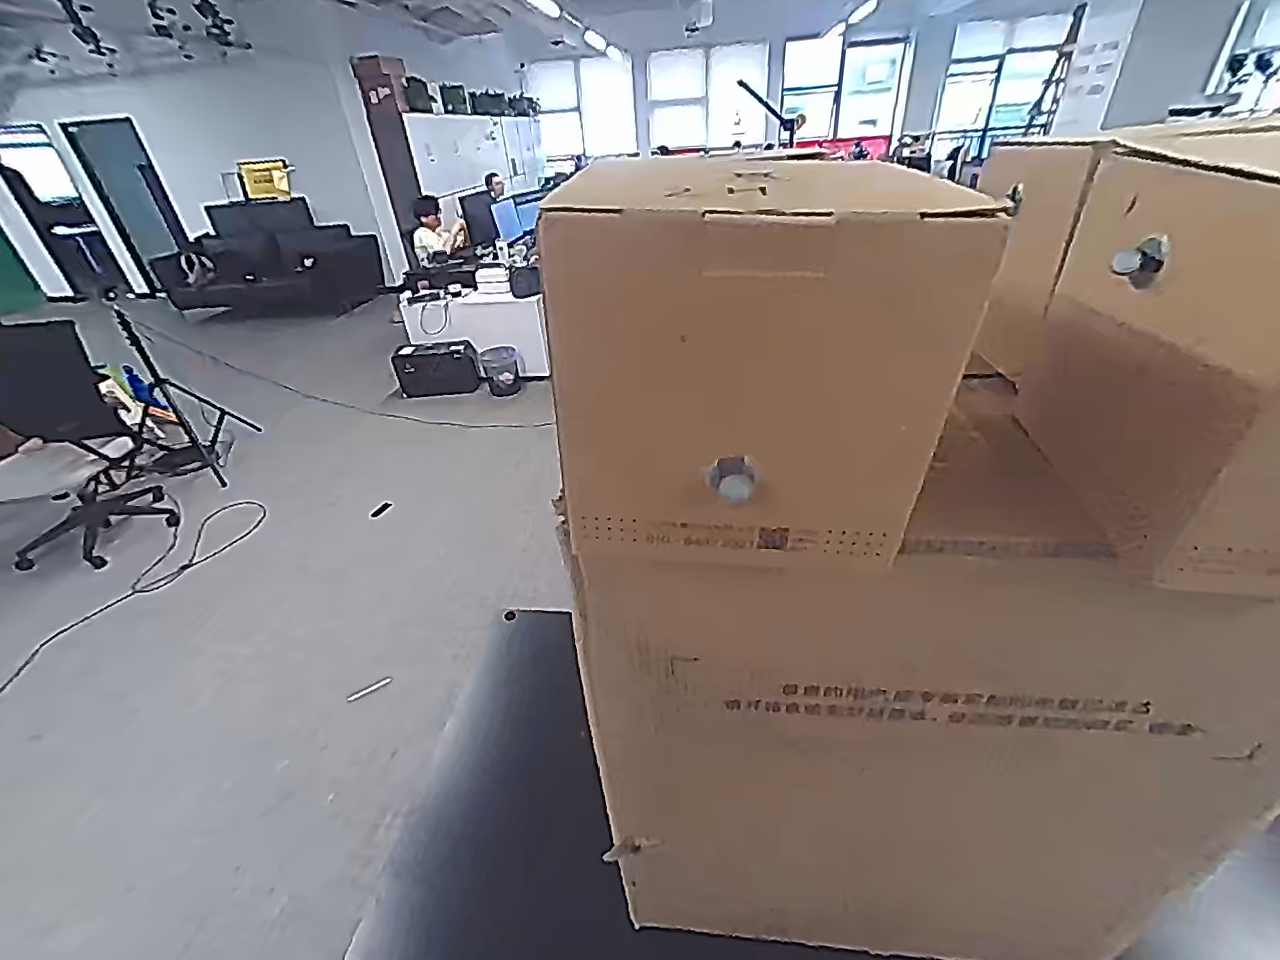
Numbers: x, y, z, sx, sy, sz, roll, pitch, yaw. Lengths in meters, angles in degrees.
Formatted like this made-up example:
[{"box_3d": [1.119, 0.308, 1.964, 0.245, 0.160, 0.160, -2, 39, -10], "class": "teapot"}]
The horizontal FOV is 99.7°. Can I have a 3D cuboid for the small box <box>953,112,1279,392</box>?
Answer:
[{"box_3d": [0.370, -0.178, 0.423, 0.168, 0.176, 0.179, 0, 32, 11], "class": "small box"}]
